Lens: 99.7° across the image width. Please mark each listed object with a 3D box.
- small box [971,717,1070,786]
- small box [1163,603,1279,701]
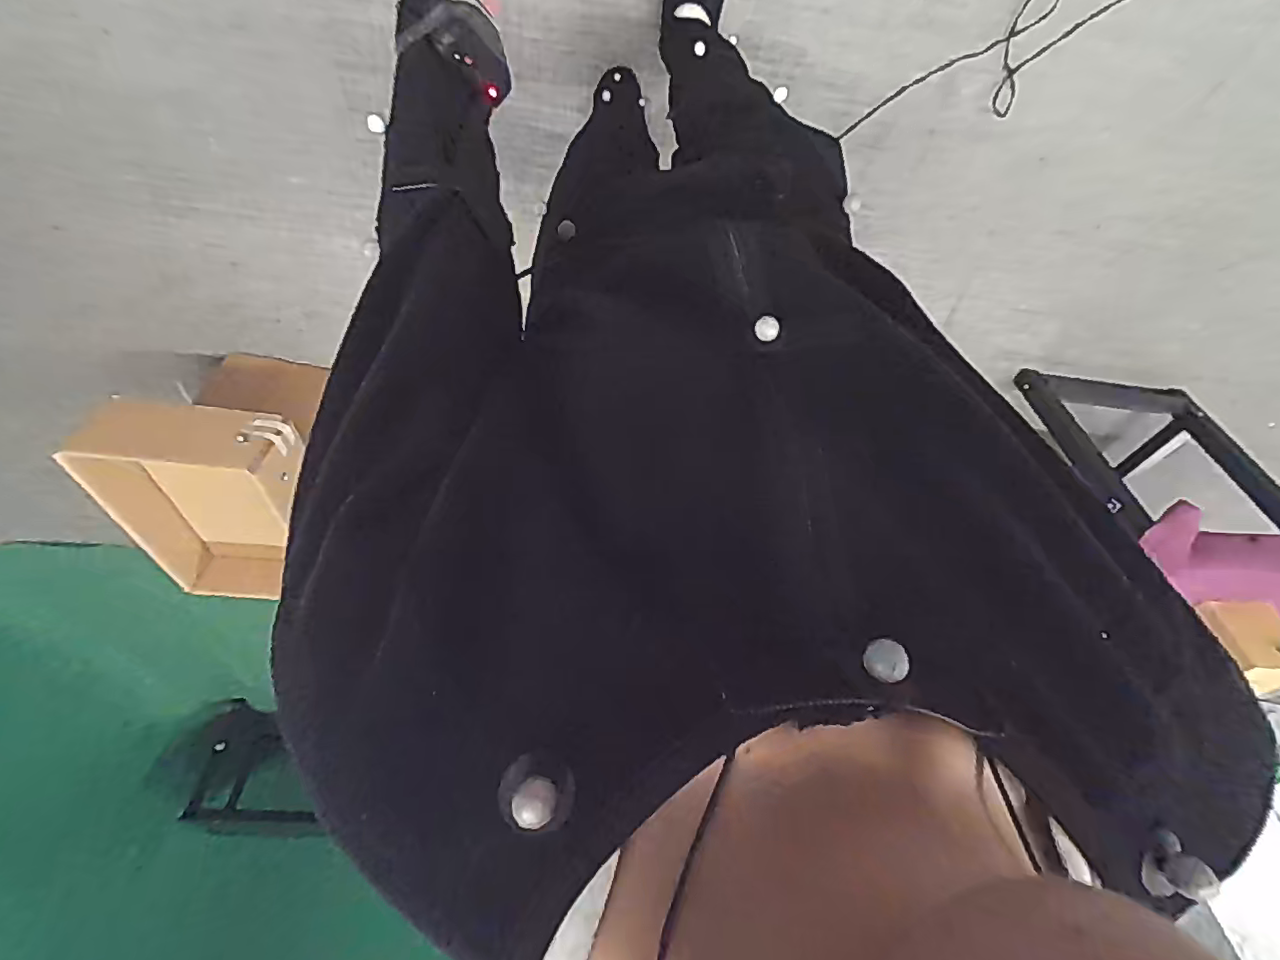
[{"bbox_3d":[1.268,0.910,1.814,0.179,0.176,0.168,9,135,-11],"label":"small box"},{"bbox_3d":[1.410,0.401,1.266,0.179,0.176,0.168,3,137,-6],"label":"small box"}]
